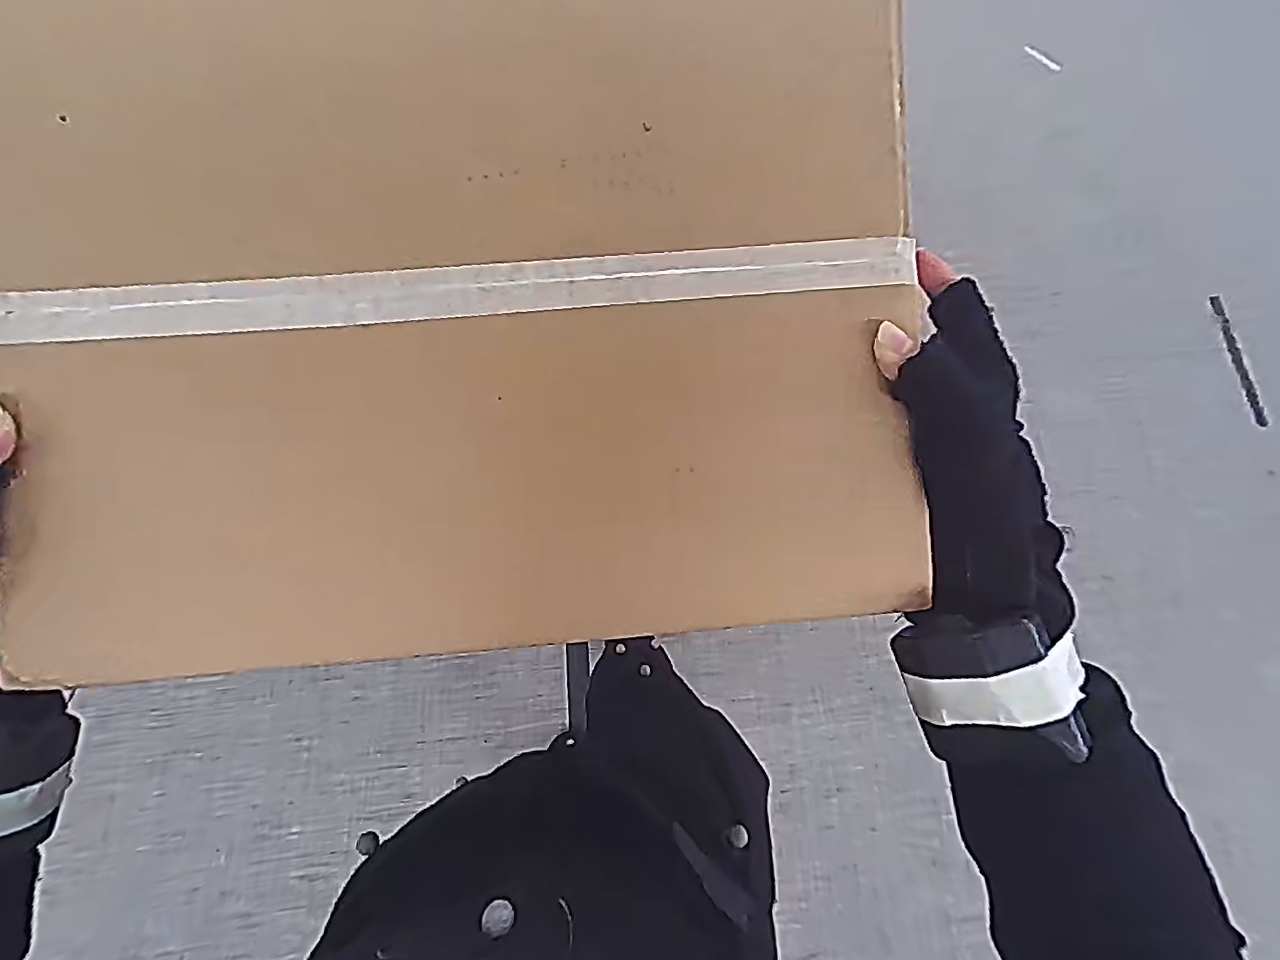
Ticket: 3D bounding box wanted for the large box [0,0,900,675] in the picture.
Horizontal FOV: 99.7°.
[{"bbox_3d":[-0.087,-0.087,0.393,0.408,0.320,0.320,-4,92,-3],"label":"large box"}]
